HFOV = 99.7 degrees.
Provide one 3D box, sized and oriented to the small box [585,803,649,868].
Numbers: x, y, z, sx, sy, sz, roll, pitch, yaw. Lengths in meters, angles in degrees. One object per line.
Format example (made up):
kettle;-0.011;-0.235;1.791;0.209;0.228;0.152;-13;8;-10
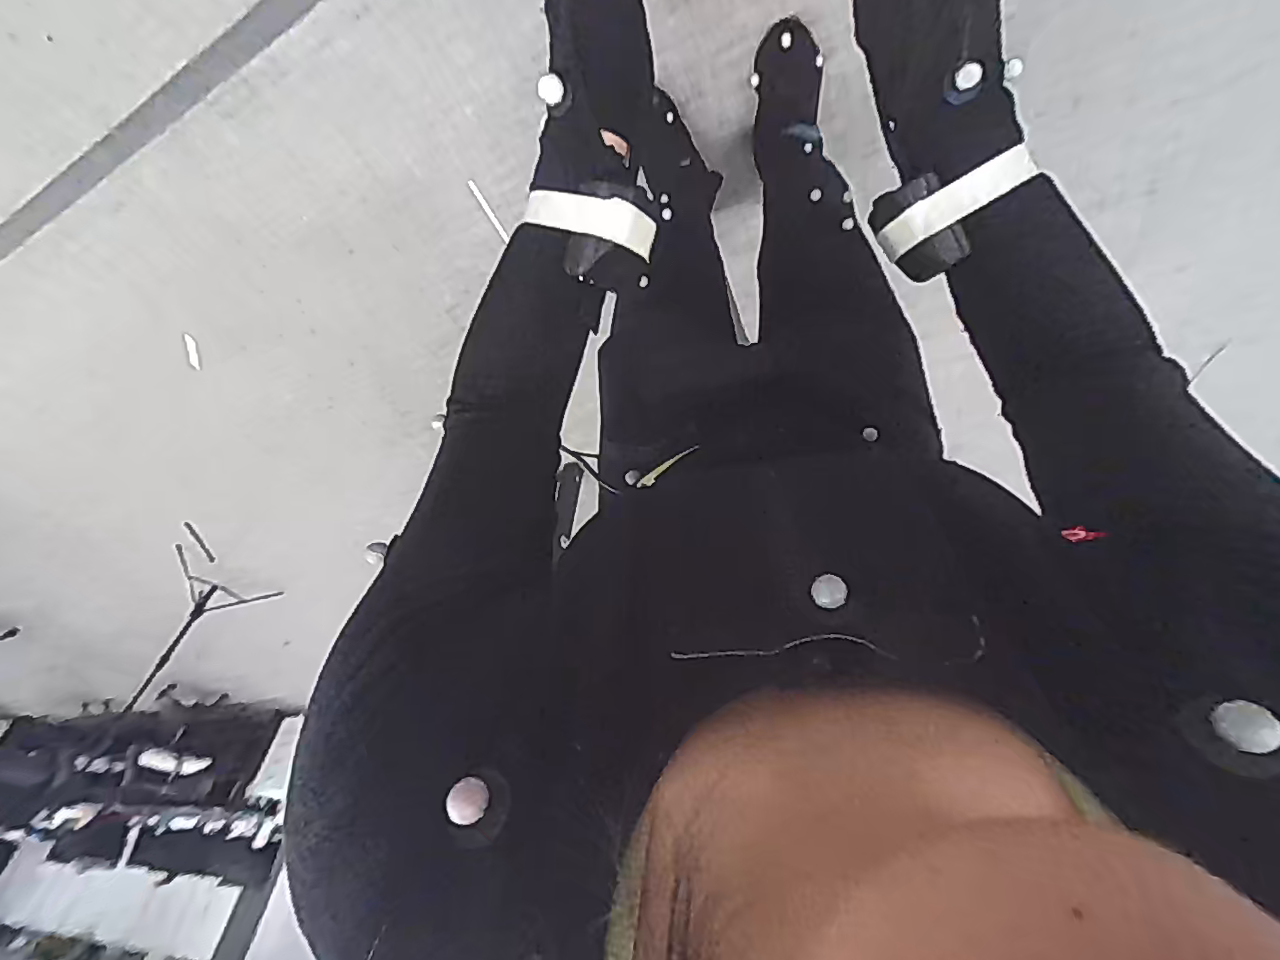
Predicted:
small box;-0.079;1.234;1.873;0.168;0.176;0.179;-13;136;22
